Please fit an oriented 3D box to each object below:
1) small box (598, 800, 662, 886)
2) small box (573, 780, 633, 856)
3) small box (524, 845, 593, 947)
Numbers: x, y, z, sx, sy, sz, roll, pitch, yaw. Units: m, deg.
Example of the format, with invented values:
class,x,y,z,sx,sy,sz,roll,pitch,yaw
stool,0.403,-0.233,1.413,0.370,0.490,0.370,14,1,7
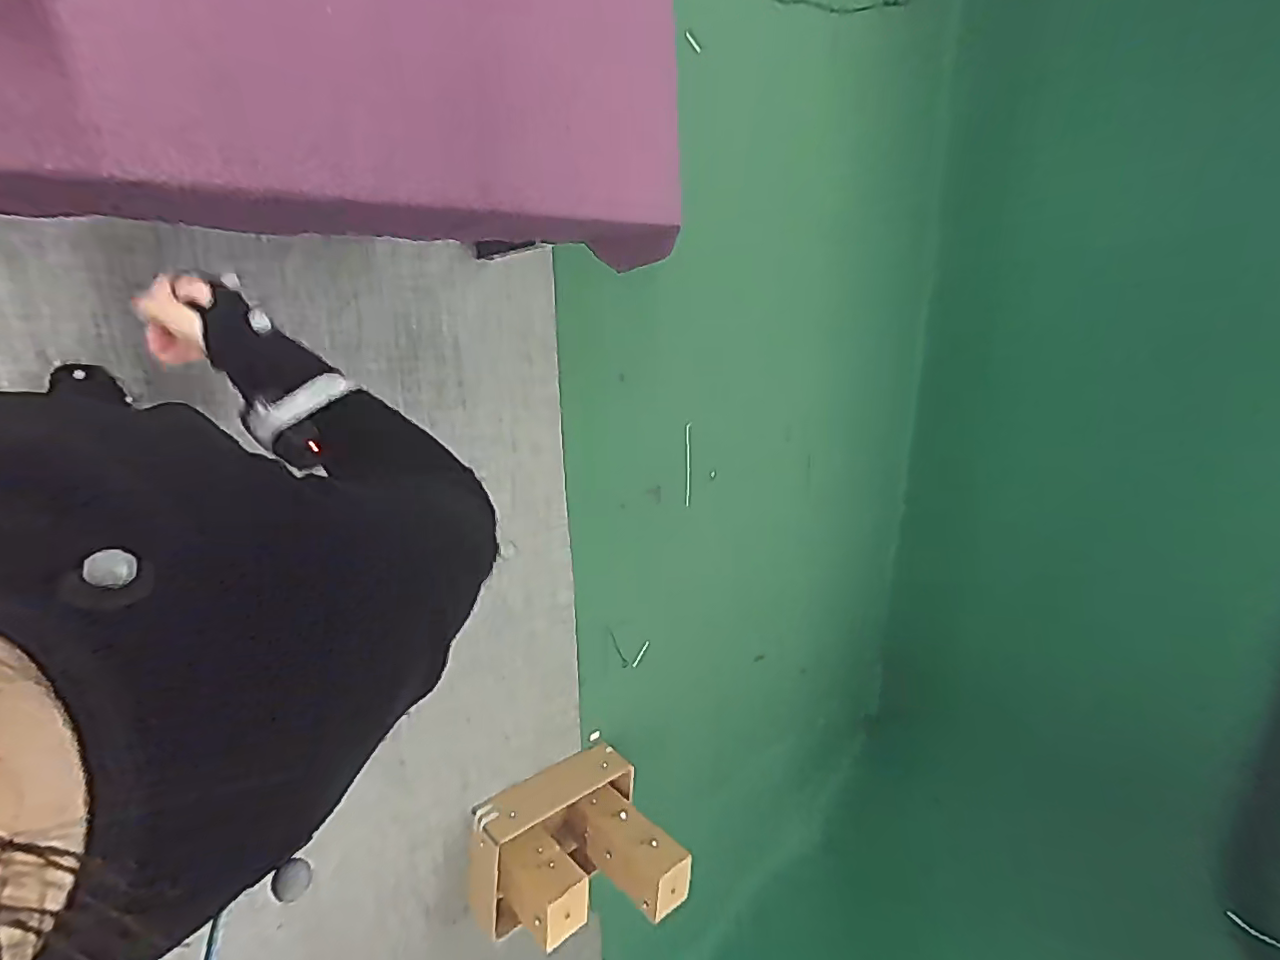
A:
class,x,y,z,sx,sy,sz,roll,pitch,yaw
small box,-0.042,1.357,2.036,0.168,0.176,0.179,0,98,-43
small box,-0.151,1.333,2.156,0.168,0.176,0.179,-2,101,-42
small box,-0.275,1.383,1.811,0.168,0.176,0.179,-7,102,-44
